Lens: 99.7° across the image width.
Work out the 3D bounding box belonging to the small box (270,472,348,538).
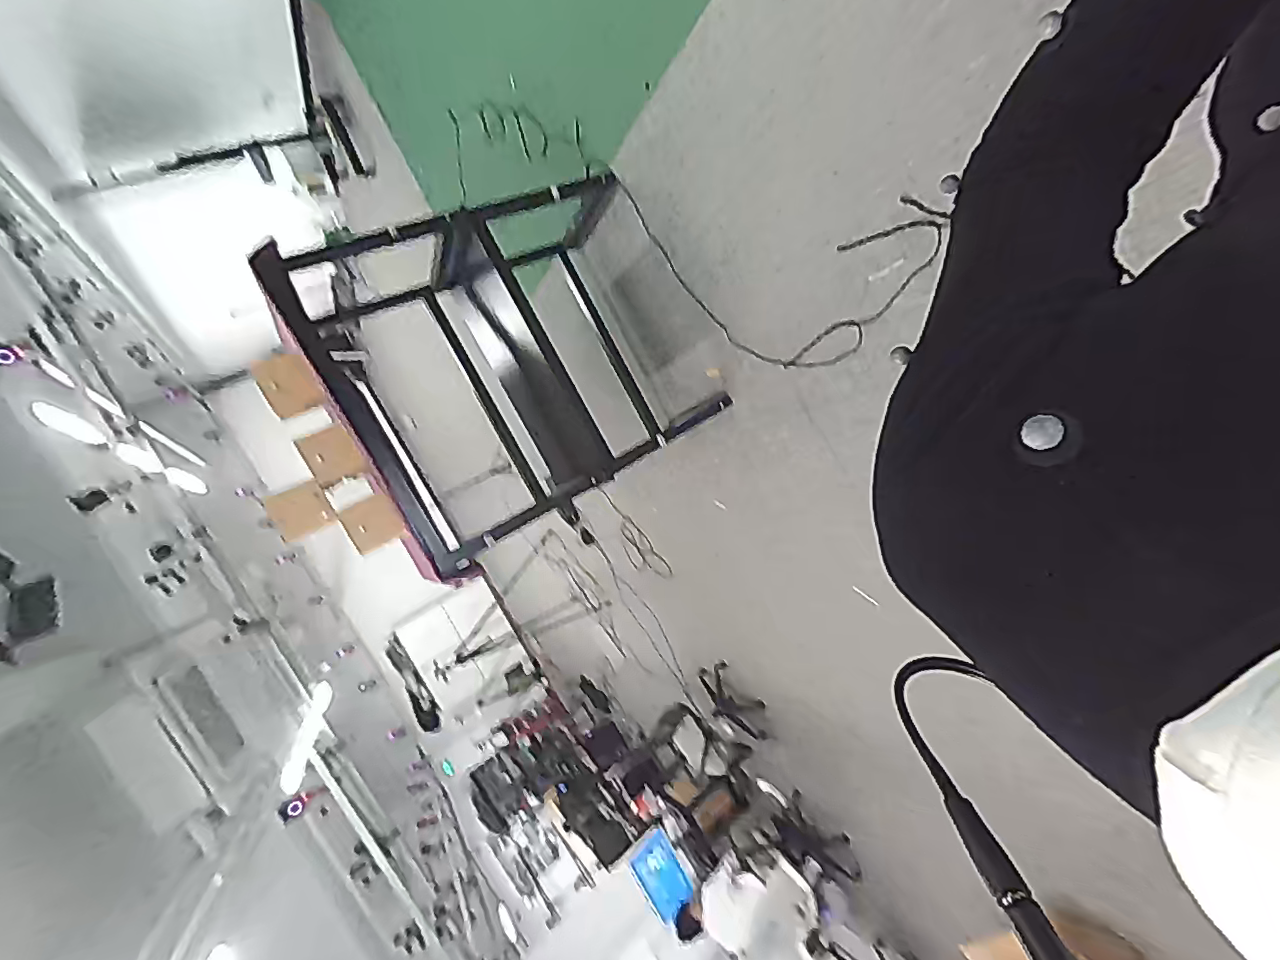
[{"bbox_3d":[-1.118,0.084,1.842,0.168,0.176,0.179,63,154,-6],"label":"small box"}]

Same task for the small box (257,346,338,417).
[{"bbox_3d":[-1.177,-0.346,1.871,0.179,0.176,0.168,61,155,-6],"label":"small box"}]

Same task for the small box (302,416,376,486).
[{"bbox_3d":[-1.044,-0.102,1.891,0.179,0.176,0.168,62,154,-5],"label":"small box"}]

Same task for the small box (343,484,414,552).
[{"bbox_3d":[-0.922,0.135,1.922,0.179,0.176,0.168,61,153,-3],"label":"small box"}]
